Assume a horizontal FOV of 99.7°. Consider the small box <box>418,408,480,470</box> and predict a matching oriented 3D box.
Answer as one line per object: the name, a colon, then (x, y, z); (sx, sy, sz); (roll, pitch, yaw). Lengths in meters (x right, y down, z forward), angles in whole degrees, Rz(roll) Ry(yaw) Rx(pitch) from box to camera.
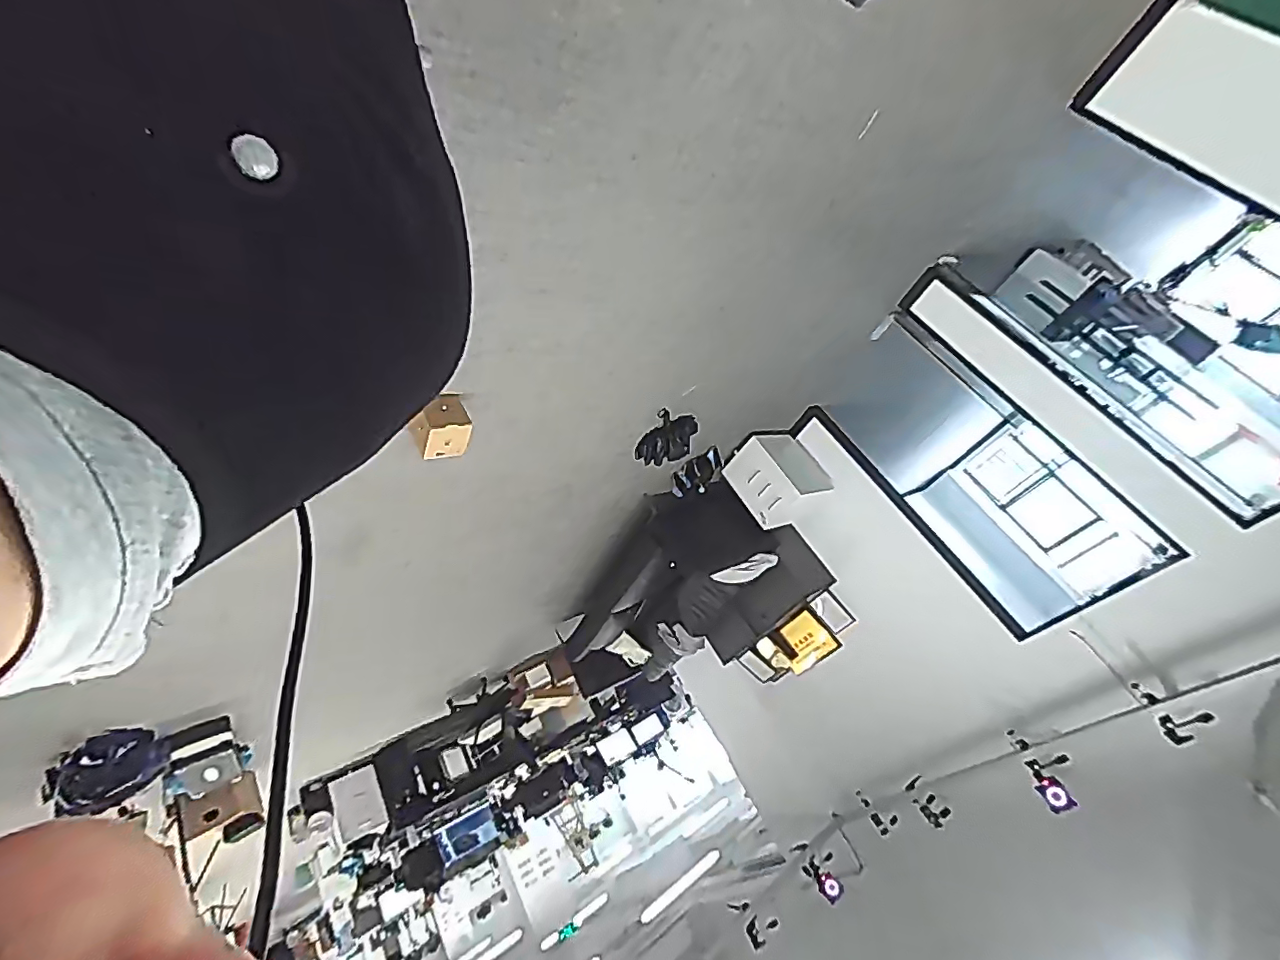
small box: (-0.746, -0.166, 2.094); (0.168, 0.176, 0.179); (-12, 145, -40)
